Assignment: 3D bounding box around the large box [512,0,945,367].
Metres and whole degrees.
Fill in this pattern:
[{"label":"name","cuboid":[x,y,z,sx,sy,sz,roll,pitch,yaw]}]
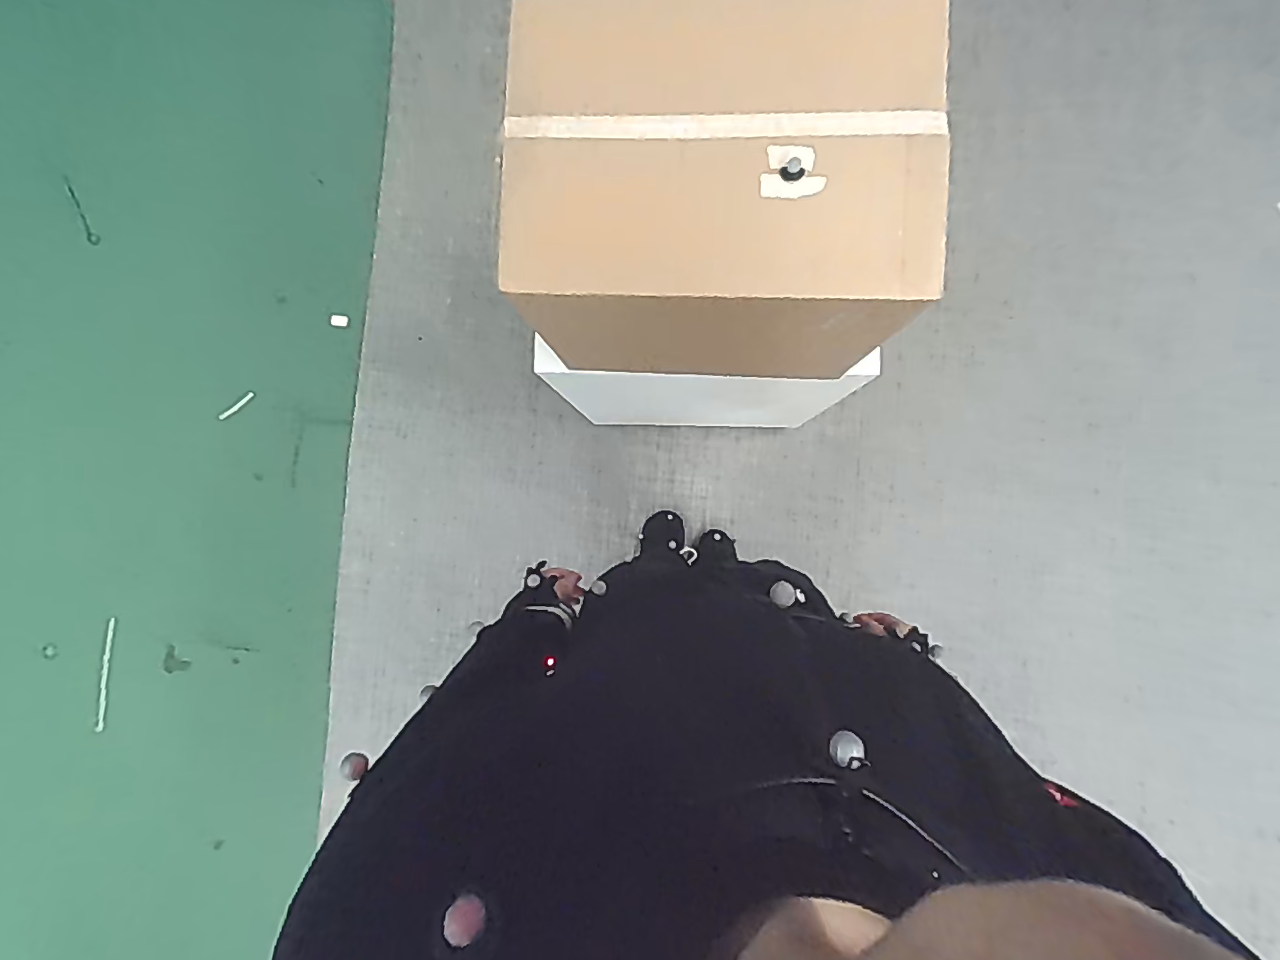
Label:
[{"label":"large box","cuboid":[0.086,-0.325,0.653,0.408,0.320,0.320,2,89,3]}]
